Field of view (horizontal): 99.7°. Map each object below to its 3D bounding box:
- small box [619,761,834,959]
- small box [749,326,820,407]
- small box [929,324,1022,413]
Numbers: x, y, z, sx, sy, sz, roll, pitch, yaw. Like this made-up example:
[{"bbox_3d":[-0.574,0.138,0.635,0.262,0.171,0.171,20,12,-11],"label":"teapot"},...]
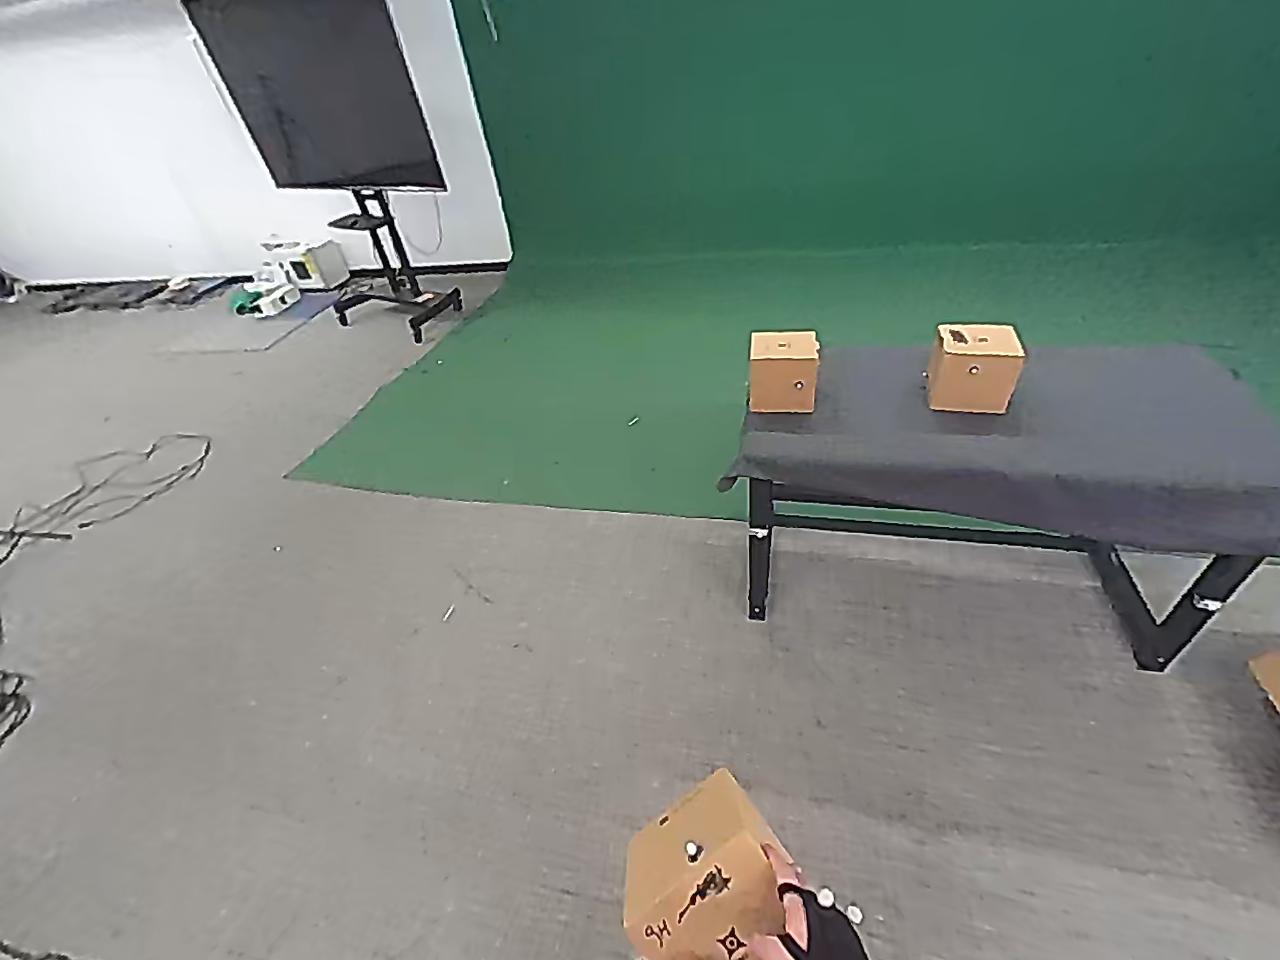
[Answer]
[{"bbox_3d":[0.096,0.488,0.657,0.168,0.176,0.179,-38,83,-2],"label":"small box"},{"bbox_3d":[0.398,-0.315,1.507,0.179,0.176,0.168,1,40,13],"label":"small box"},{"bbox_3d":[0.865,-0.292,1.415,0.179,0.176,0.168,9,45,20],"label":"small box"}]
